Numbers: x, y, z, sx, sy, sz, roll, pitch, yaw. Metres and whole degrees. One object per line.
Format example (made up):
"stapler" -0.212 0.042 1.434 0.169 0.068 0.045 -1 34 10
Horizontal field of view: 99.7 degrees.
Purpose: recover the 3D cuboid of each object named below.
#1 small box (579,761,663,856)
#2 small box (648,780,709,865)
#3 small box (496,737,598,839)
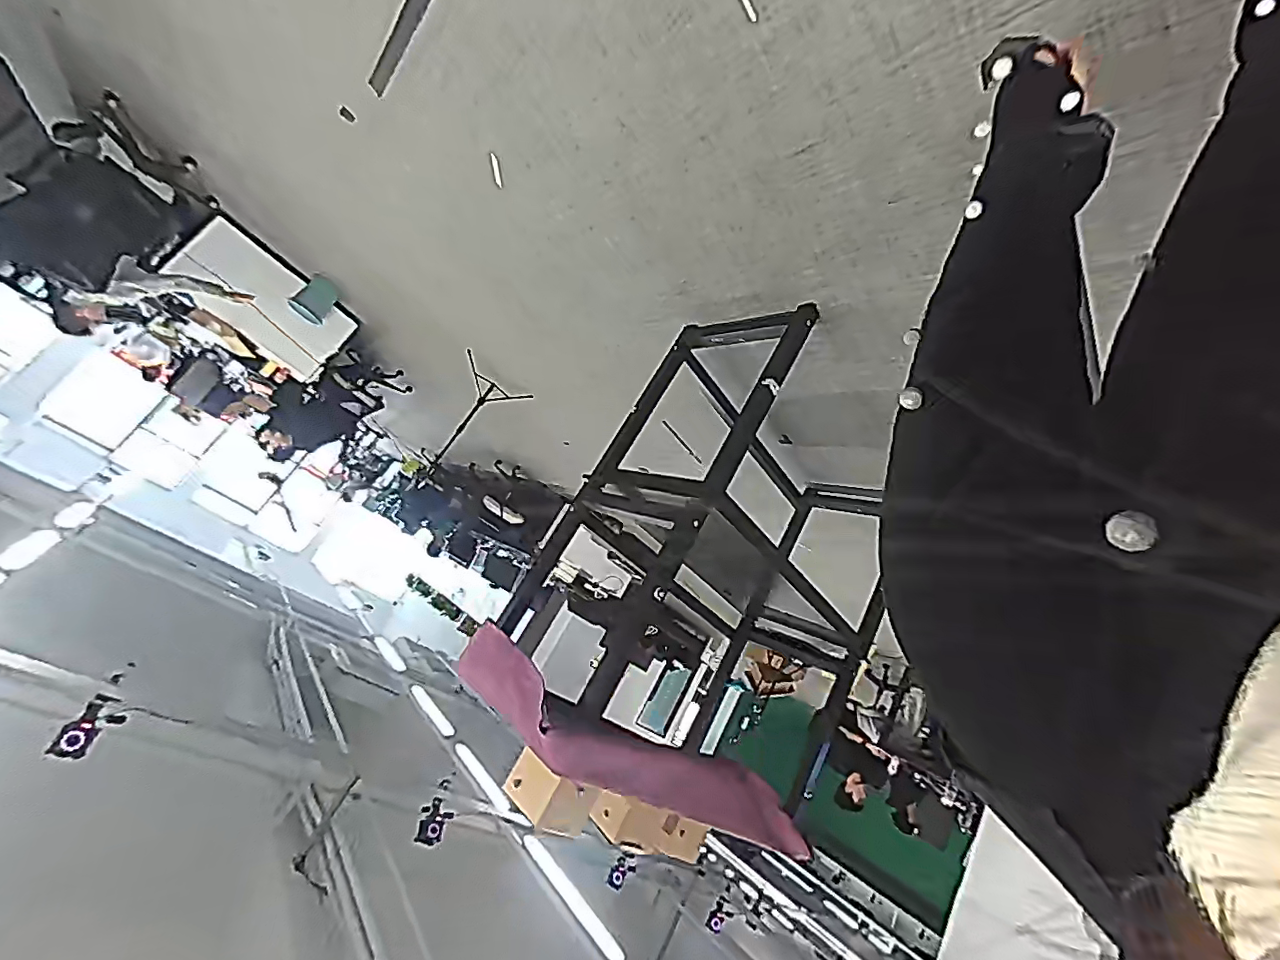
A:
"small box" -0.054 0.994 1.647 0.168 0.176 0.179 41 161 -30
"small box" 0.099 1.144 1.816 0.179 0.176 0.168 41 160 -32
"small box" -0.243 0.812 1.444 0.179 0.176 0.168 12 156 47
